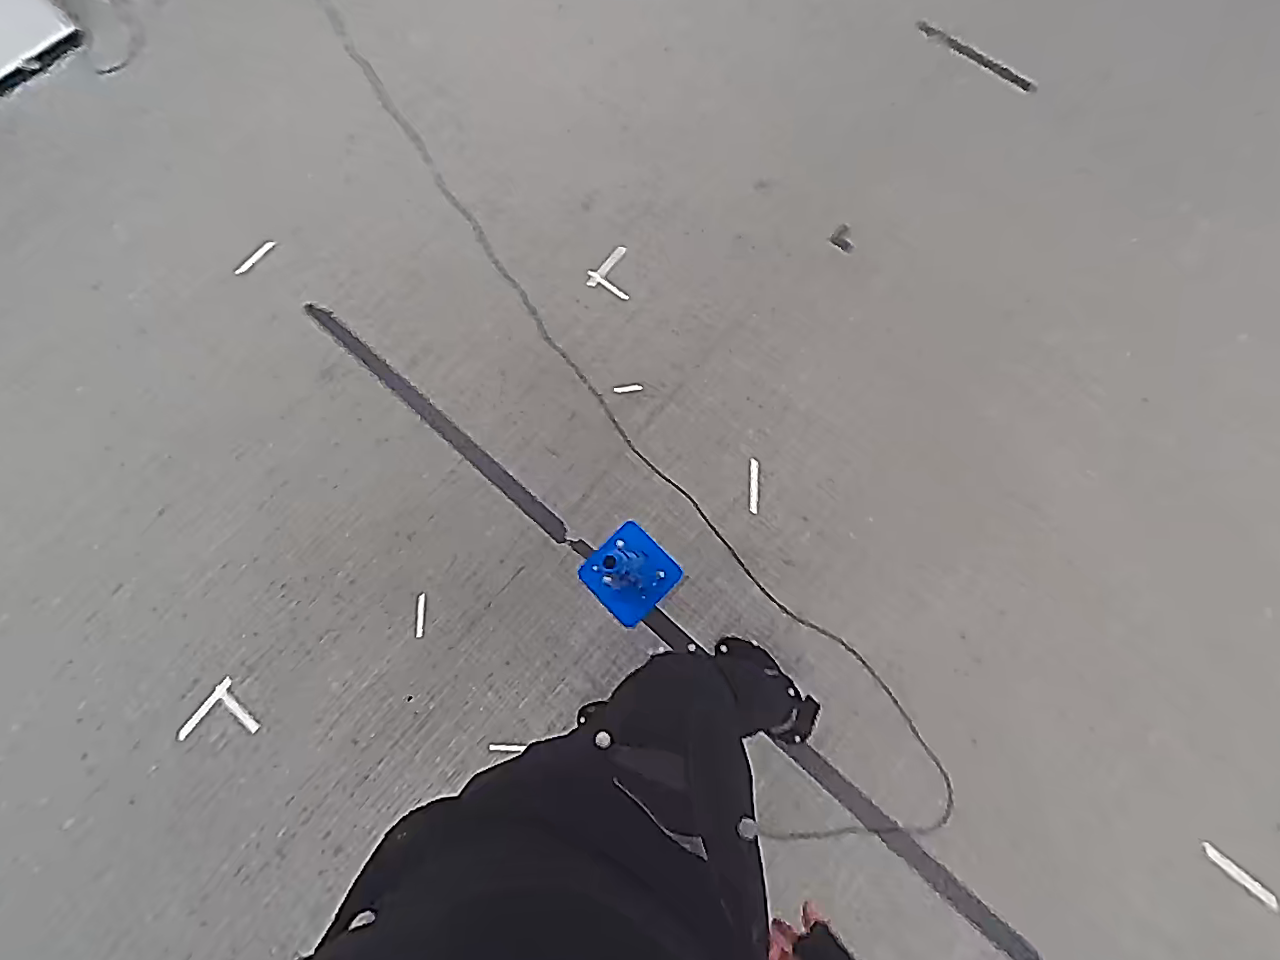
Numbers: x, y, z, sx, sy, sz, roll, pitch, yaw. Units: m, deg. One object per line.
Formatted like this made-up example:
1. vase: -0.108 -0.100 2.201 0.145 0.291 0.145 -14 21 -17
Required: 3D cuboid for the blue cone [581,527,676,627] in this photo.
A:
1. blue cone: -0.042 0.192 1.158 0.192 0.380 0.193 42 83 13
